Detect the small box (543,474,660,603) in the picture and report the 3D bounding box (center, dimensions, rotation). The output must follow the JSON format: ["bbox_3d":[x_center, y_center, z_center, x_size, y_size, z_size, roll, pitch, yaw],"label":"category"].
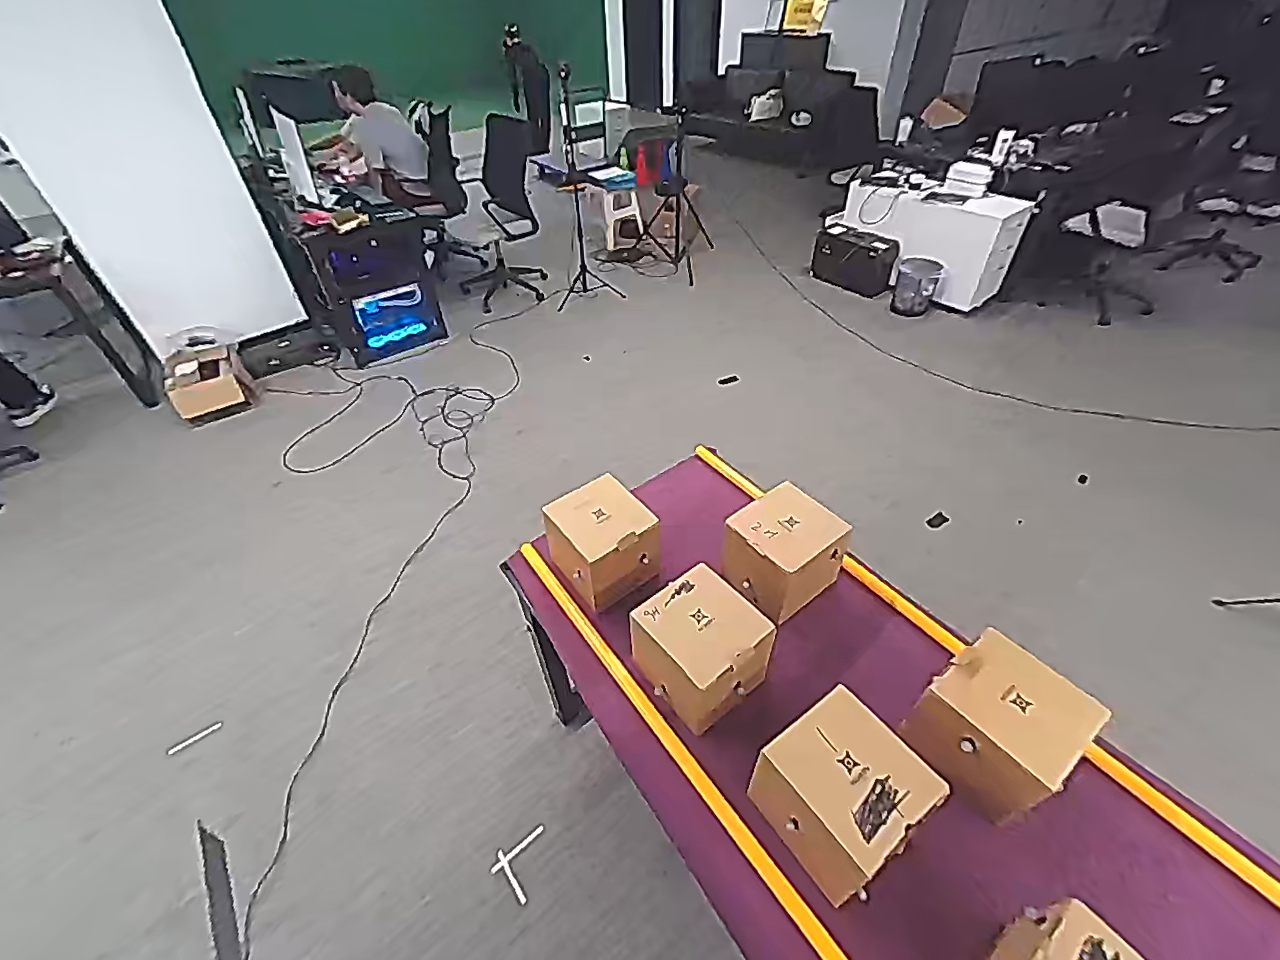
[{"bbox_3d":[-0.075,0.125,1.101,0.168,0.176,0.179,-29,51,-26],"label":"small box"}]

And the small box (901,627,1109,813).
[{"bbox_3d":[0.534,0.367,0.816,0.168,0.176,0.179,-29,48,-24],"label":"small box"}]

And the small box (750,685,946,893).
[{"bbox_3d":[0.276,0.434,0.756,0.168,0.176,0.179,-25,46,-25],"label":"small box"}]

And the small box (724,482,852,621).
[{"bbox_3d":[0.281,0.140,1.069,0.179,0.176,0.168,-29,49,-23],"label":"small box"}]

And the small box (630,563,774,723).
[{"bbox_3d":[0.101,0.285,0.925,0.168,0.176,0.179,-29,50,-26],"label":"small box"}]
